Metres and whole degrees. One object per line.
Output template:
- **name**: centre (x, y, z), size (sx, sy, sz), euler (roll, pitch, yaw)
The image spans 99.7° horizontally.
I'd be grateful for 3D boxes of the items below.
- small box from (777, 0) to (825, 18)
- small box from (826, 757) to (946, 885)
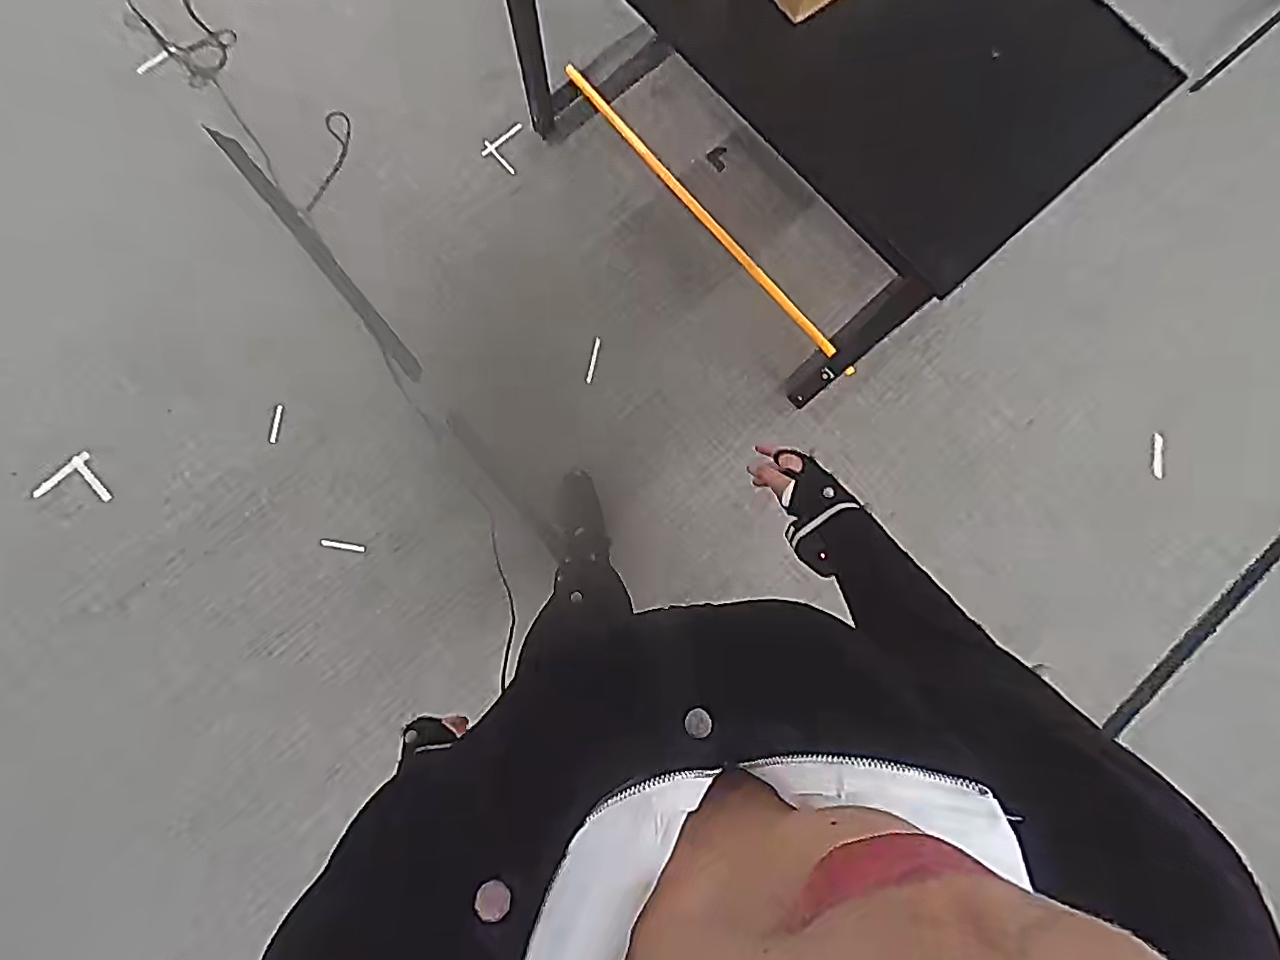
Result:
- **small box**: centre (0.277, -0.883, 0.835), size (0.179, 0.176, 0.168), euler (-38, 86, -6)
- **small box**: centre (0.602, 0.835, 1.345), size (0.168, 0.176, 0.179), euler (-40, 85, -7)
